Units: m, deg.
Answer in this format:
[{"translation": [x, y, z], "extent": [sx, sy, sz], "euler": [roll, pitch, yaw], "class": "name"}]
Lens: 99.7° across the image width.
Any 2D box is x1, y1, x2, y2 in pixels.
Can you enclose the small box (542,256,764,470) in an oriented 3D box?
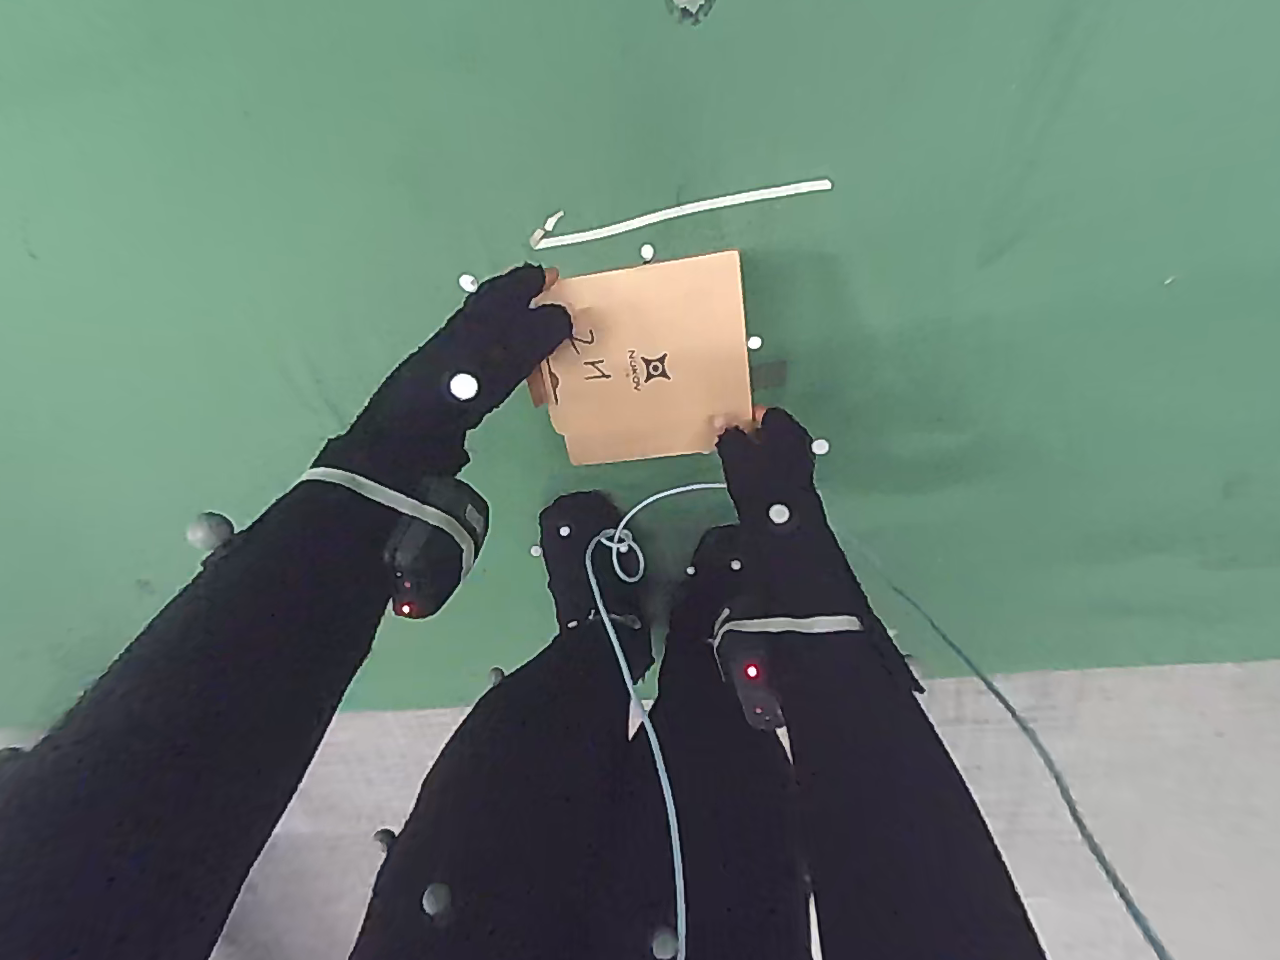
[{"translation": [0.024, -0.123, 0.539], "extent": [0.179, 0.176, 0.168], "euler": [-5, 112, 11], "class": "small box"}]
